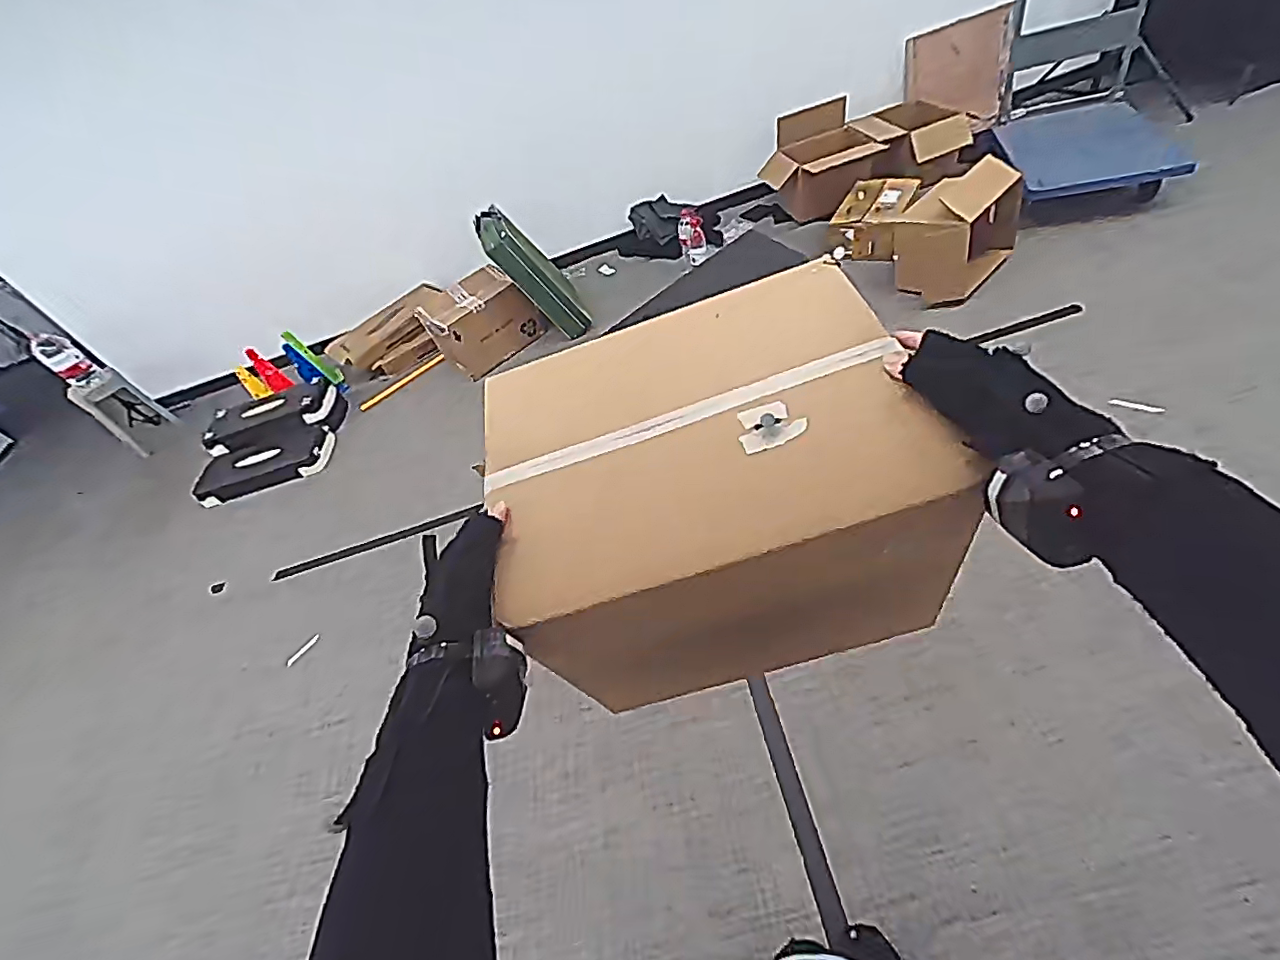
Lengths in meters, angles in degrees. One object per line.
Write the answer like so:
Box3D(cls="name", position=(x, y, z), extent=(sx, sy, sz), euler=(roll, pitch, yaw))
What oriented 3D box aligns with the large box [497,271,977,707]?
Box3D(cls="large box", position=(0.085, 0.028, 0.642), extent=(0.408, 0.320, 0.320), euler=(-18, 53, 5))
